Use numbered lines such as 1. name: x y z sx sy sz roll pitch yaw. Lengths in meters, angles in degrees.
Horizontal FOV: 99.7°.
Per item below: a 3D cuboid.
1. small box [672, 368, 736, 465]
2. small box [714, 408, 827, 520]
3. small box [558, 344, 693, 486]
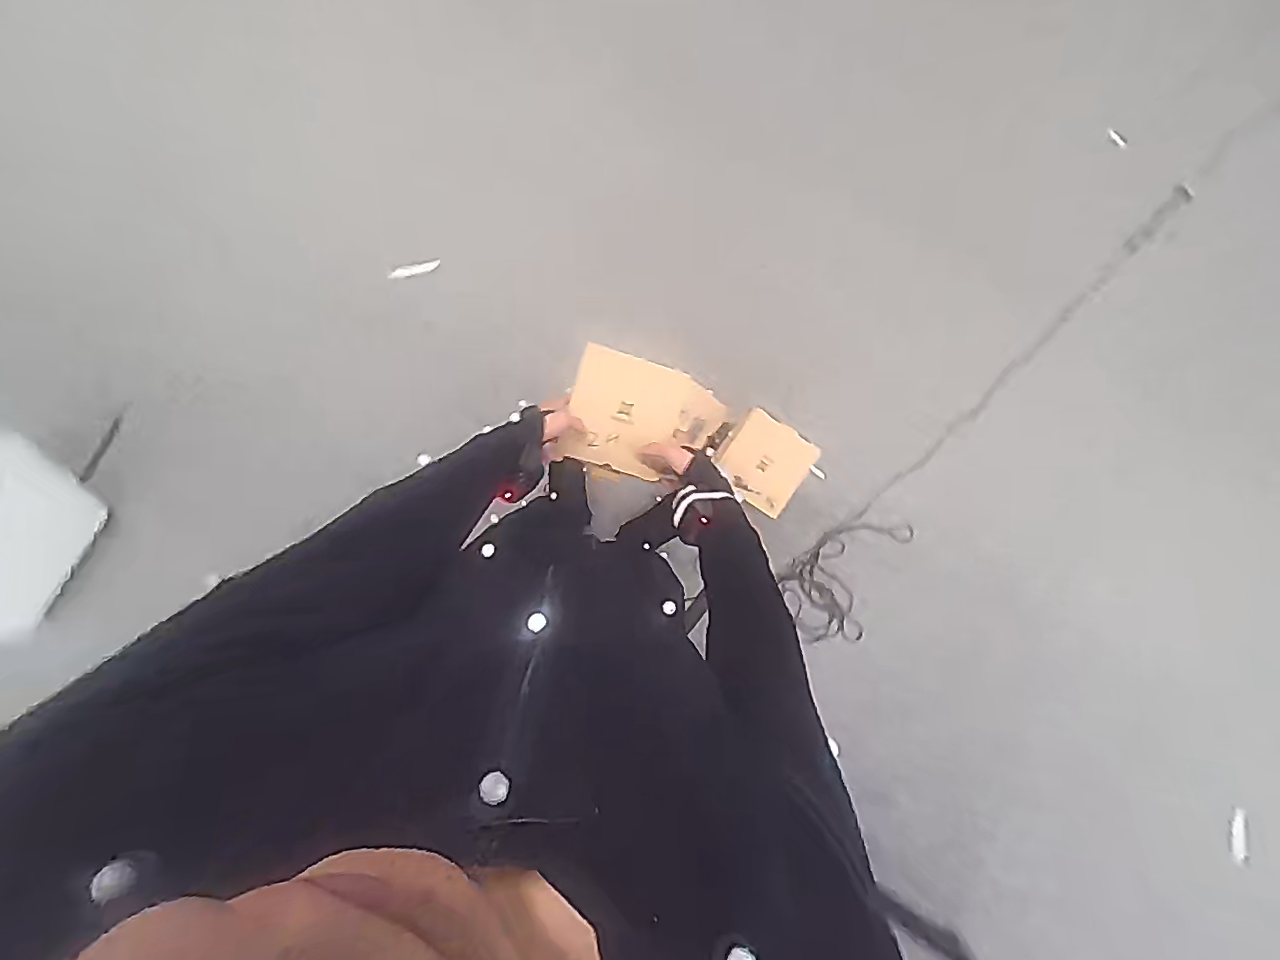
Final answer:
1. small box: 0.121 -0.156 1.362 0.179 0.176 0.168 41 95 4
2. small box: 0.274 -0.034 1.187 0.168 0.176 0.179 35 94 4
3. small box: -0.027 -0.103 0.889 0.168 0.176 0.179 17 94 -4
